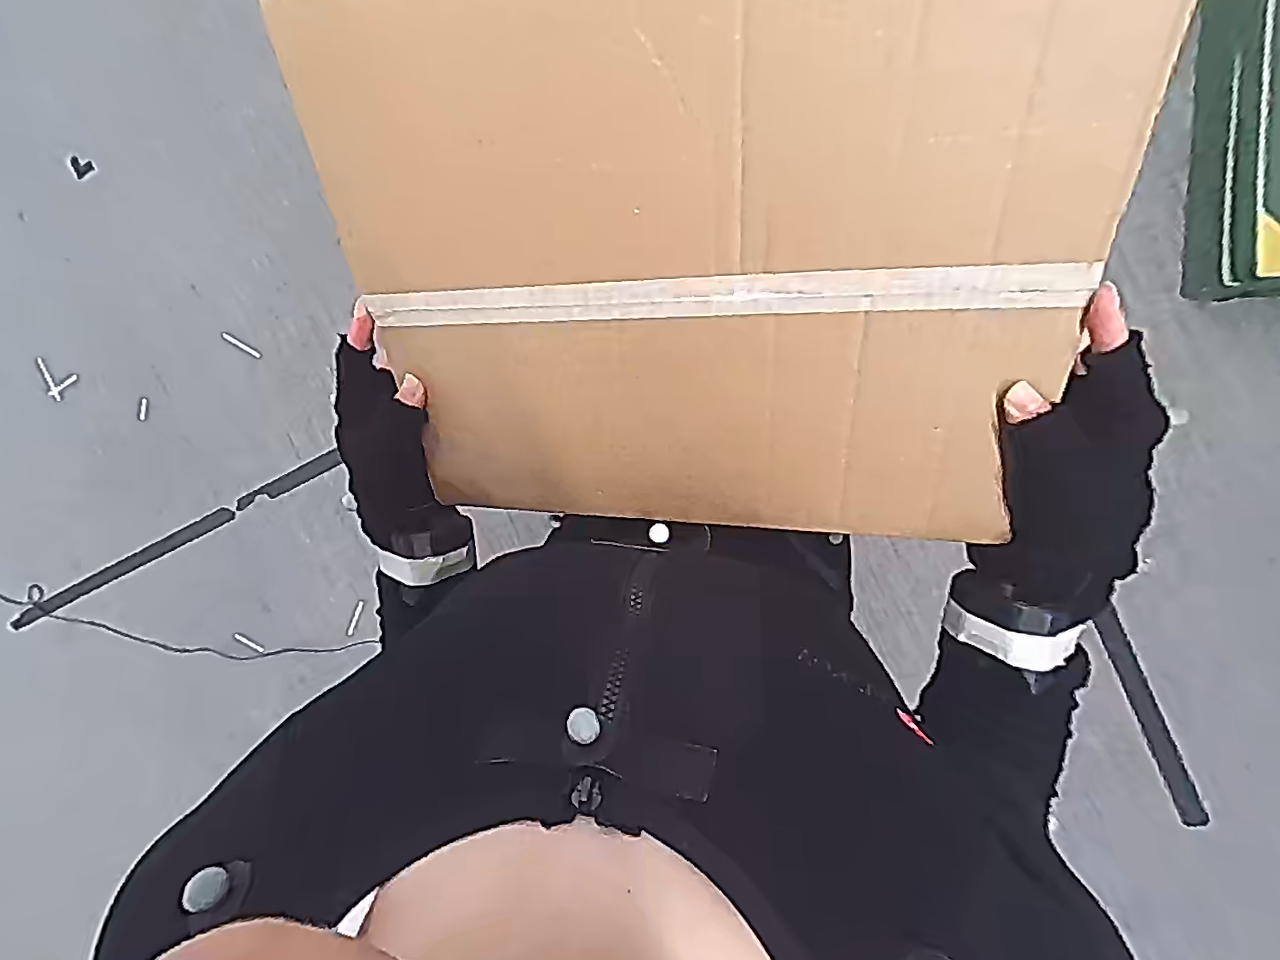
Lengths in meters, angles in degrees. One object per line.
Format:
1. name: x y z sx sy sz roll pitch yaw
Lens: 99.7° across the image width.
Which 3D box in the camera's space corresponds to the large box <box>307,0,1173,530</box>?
1. large box: 0.059 -0.184 0.435 0.408 0.320 0.320 3 124 14
